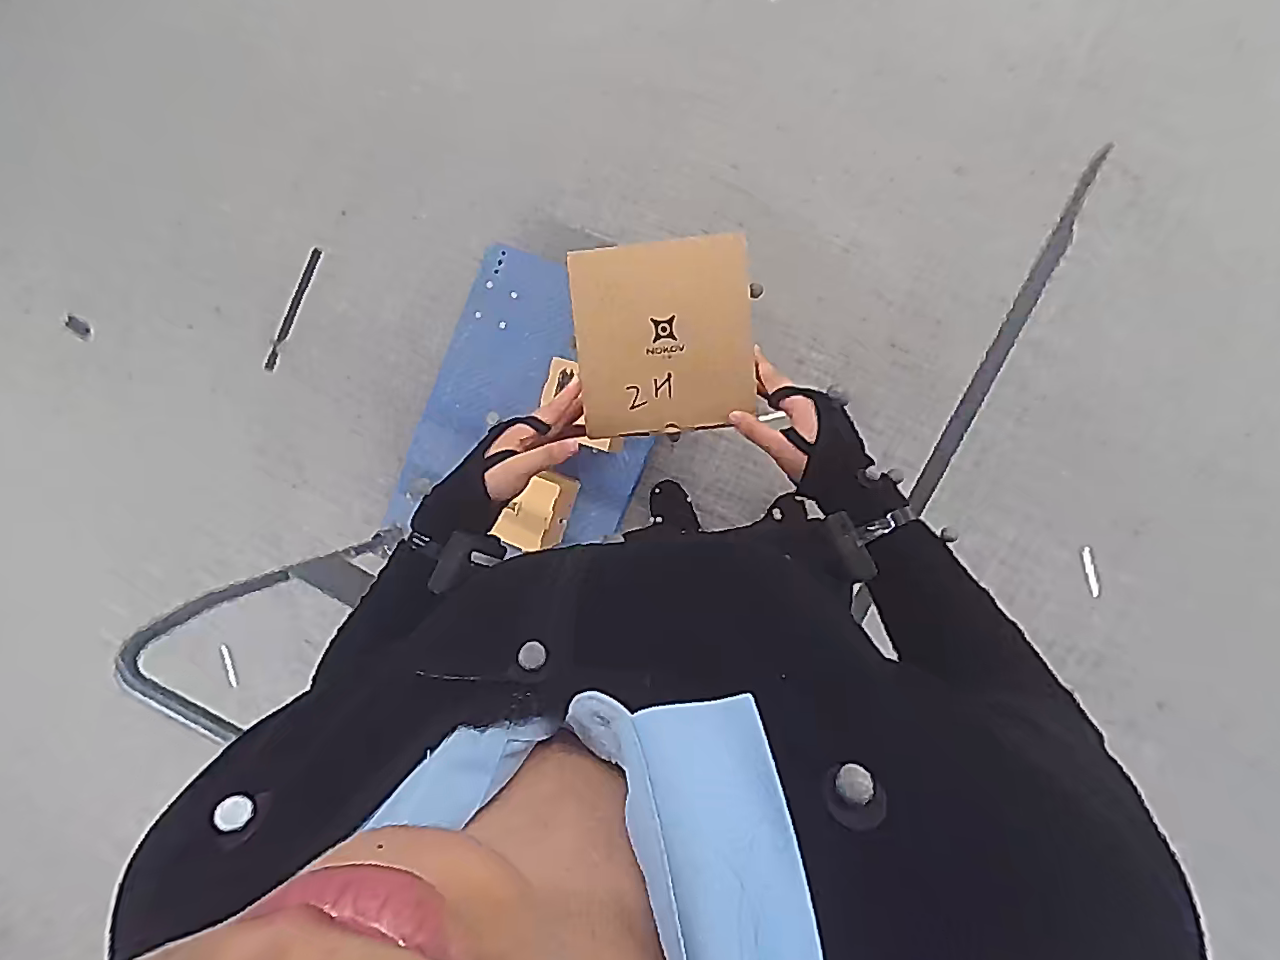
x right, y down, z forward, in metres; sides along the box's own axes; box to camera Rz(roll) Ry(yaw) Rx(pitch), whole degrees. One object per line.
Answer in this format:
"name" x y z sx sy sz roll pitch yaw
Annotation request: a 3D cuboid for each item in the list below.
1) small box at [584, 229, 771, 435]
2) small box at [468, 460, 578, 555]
"small box" 0.039 -0.141 0.570 0.168 0.176 0.179 -4 97 5
"small box" -0.267 0.059 1.269 0.179 0.176 0.168 20 95 6
